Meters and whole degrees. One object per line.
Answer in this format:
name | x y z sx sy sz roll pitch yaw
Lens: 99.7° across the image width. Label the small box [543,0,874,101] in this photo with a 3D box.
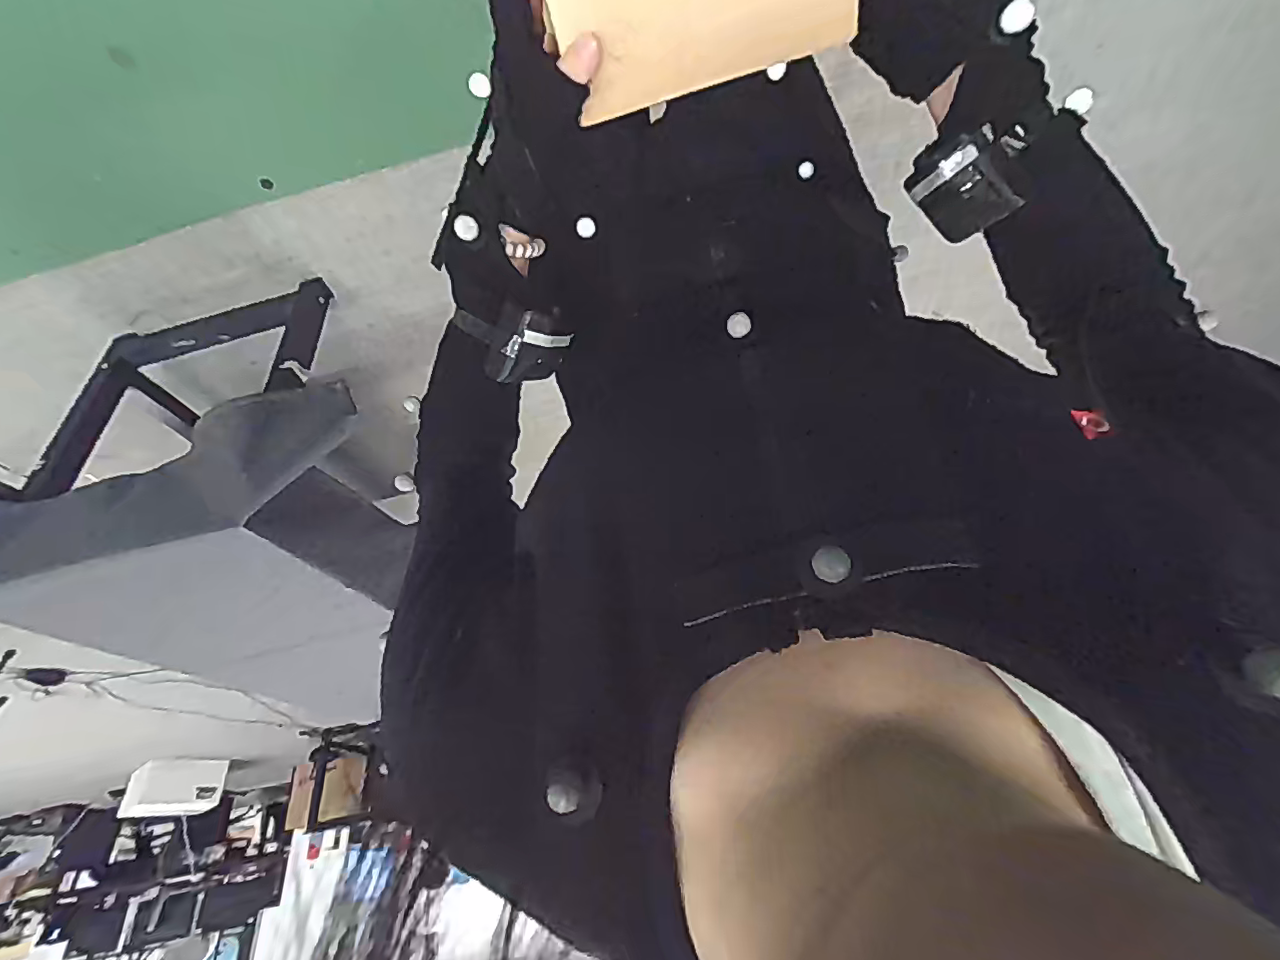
small box | 0.018 -0.349 0.307 0.179 0.176 0.168 -17 137 1
